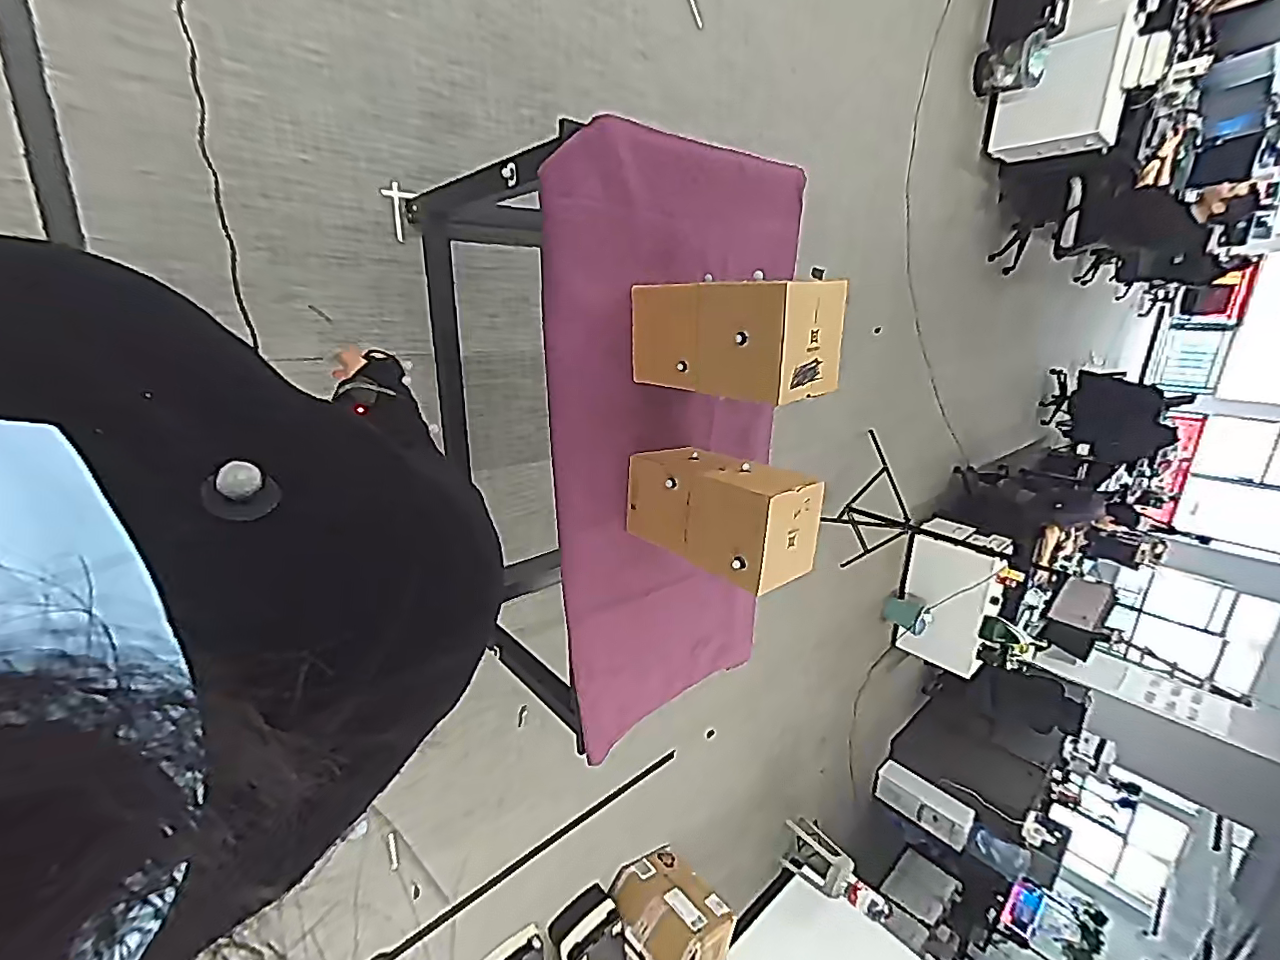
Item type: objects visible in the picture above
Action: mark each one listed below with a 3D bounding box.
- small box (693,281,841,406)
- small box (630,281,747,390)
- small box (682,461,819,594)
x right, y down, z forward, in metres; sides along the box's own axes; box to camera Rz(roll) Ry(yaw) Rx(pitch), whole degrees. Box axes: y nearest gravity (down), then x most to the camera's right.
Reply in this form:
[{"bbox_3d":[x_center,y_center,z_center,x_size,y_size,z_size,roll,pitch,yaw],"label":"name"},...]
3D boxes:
[{"bbox_3d":[0.200,-0.228,0.878,0.168,0.176,0.179,-18,115,-39],"label":"small box"},{"bbox_3d":[0.093,-0.270,0.996,0.168,0.176,0.179,-18,116,-39],"label":"small box"},{"bbox_3d":[0.192,0.075,0.969,0.168,0.176,0.179,-11,111,-42],"label":"small box"}]
